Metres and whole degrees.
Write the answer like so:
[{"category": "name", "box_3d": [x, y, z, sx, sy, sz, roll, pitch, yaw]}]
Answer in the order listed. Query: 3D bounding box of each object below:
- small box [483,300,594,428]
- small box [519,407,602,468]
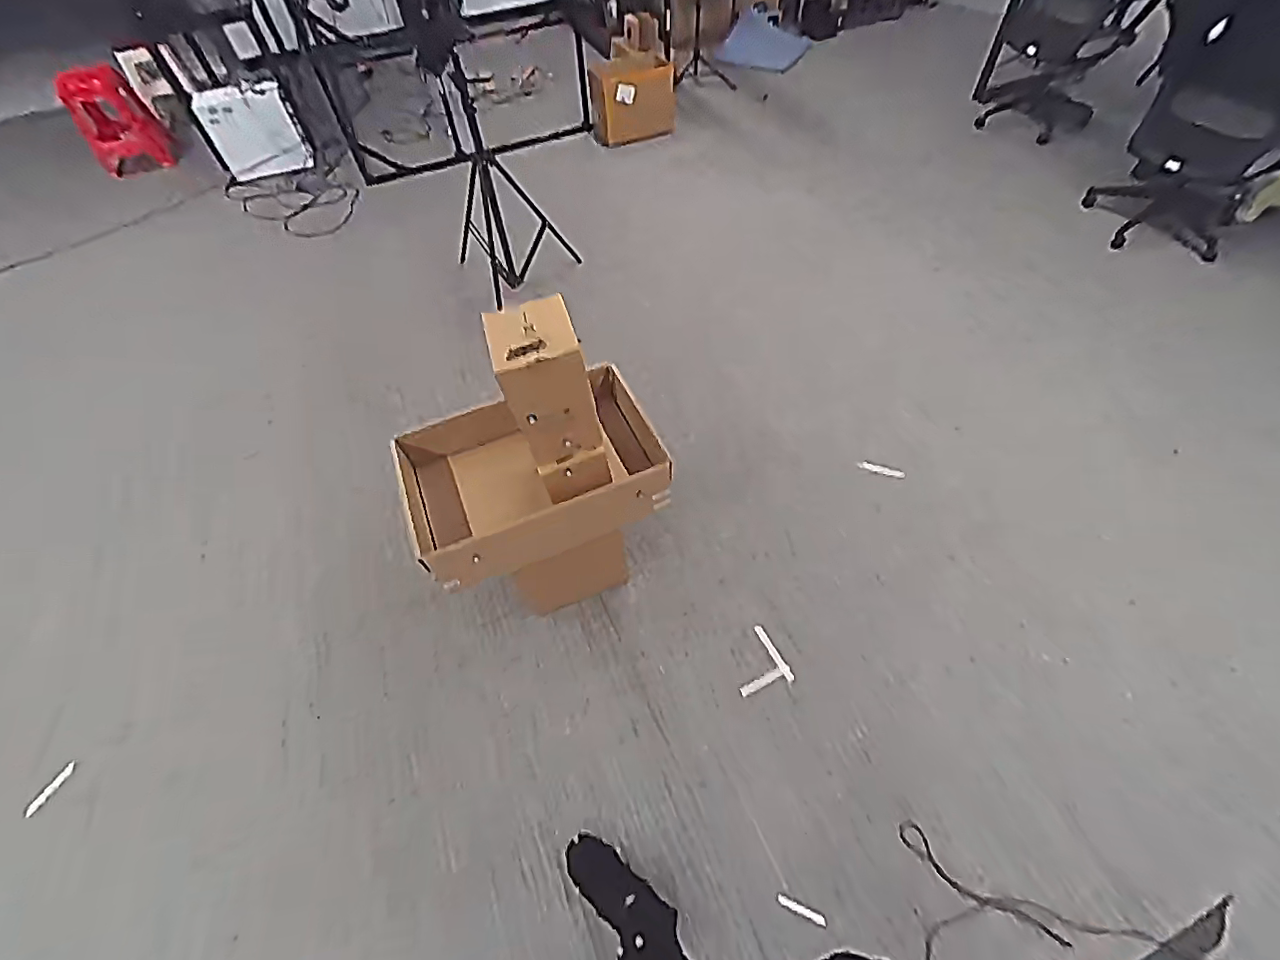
[{"category": "small box", "box_3d": [-0.200, -0.226, 1.093, 0.168, 0.176, 0.179, -17, 56, -5]}, {"category": "small box", "box_3d": [-0.200, -0.158, 1.247, 0.168, 0.176, 0.179, -22, 57, -8]}]
